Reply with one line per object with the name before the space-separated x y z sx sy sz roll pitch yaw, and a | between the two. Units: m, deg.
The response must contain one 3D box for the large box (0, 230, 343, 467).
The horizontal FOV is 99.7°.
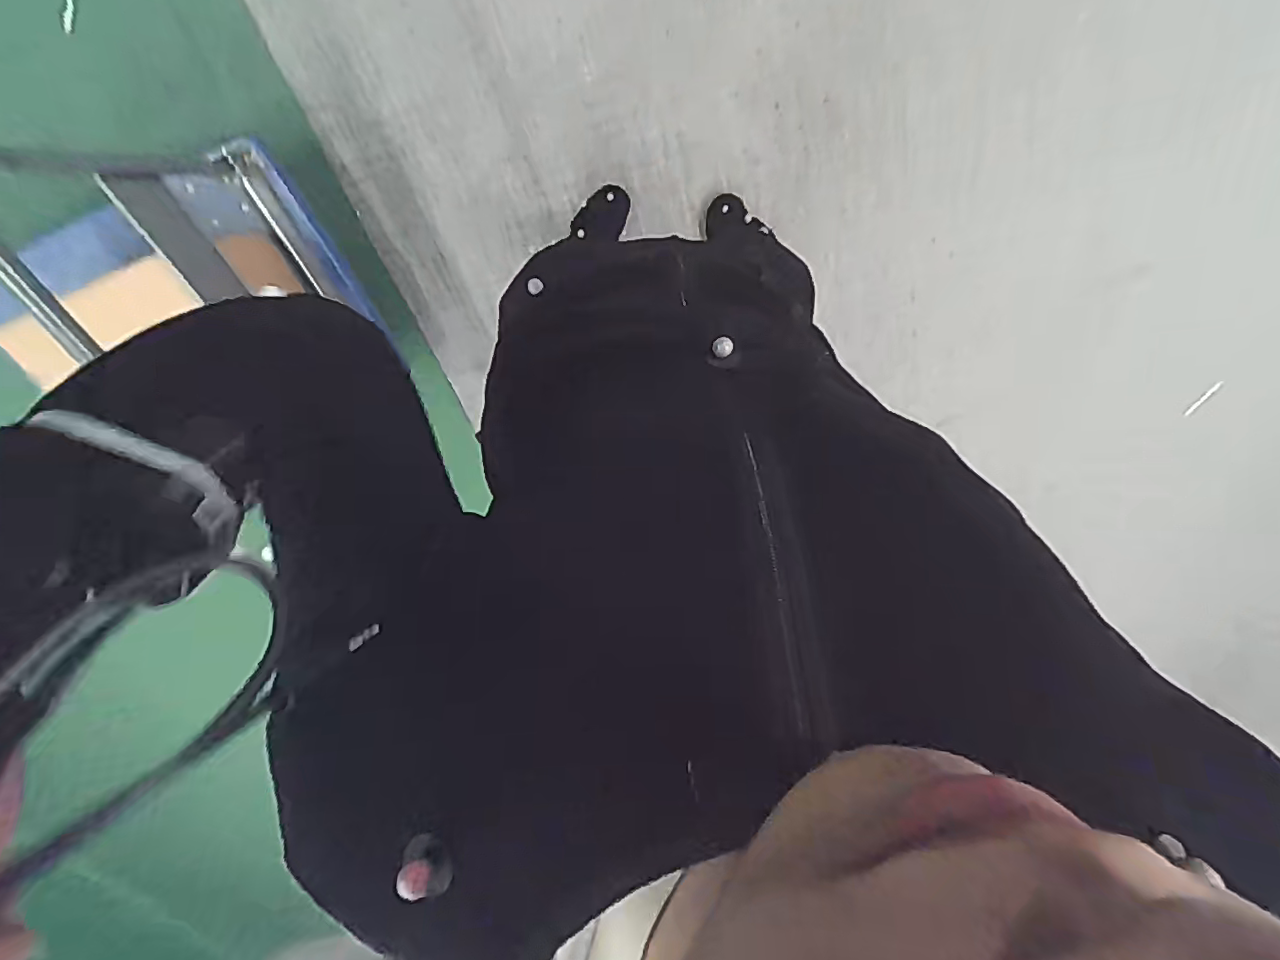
large box | -0.955 -0.288 1.160 0.408 0.320 0.320 -19 120 9
